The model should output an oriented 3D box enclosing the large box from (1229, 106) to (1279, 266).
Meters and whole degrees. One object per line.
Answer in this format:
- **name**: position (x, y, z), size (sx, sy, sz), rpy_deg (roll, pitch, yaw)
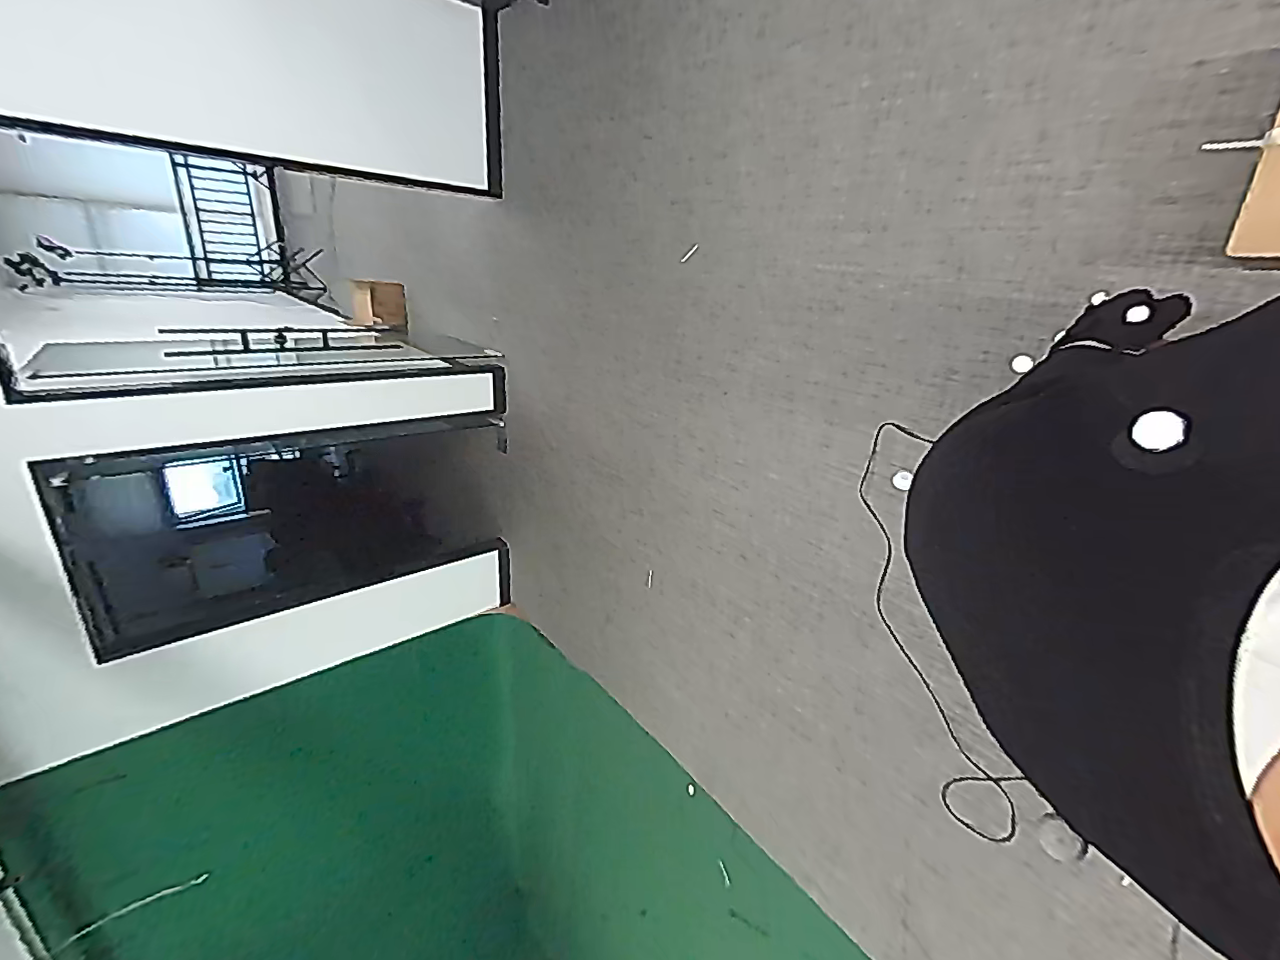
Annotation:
- **large box**: position (1.118, -0.454, 0.705), size (0.408, 0.320, 0.320), rpy_deg (25, 120, 45)
